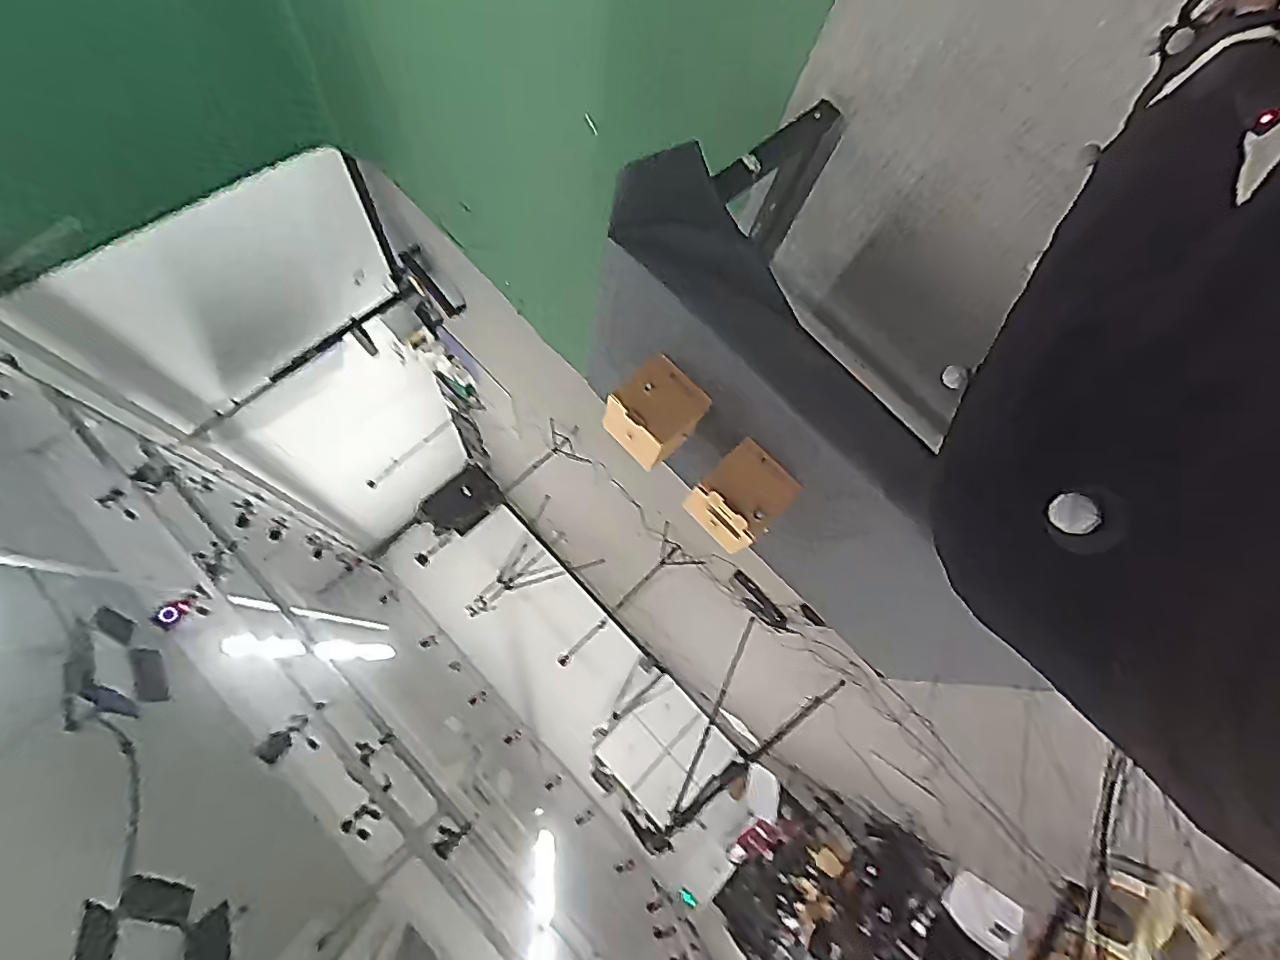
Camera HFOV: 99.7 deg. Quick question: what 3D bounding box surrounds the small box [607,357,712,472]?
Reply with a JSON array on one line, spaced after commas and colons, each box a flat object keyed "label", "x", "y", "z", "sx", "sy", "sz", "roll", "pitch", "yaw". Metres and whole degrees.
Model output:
[{"label": "small box", "x": 0.044, "y": -0.153, "z": 1.262, "sx": 0.168, "sy": 0.176, "sz": 0.179, "roll": 46, "pitch": 162, "yaw": 8}]
